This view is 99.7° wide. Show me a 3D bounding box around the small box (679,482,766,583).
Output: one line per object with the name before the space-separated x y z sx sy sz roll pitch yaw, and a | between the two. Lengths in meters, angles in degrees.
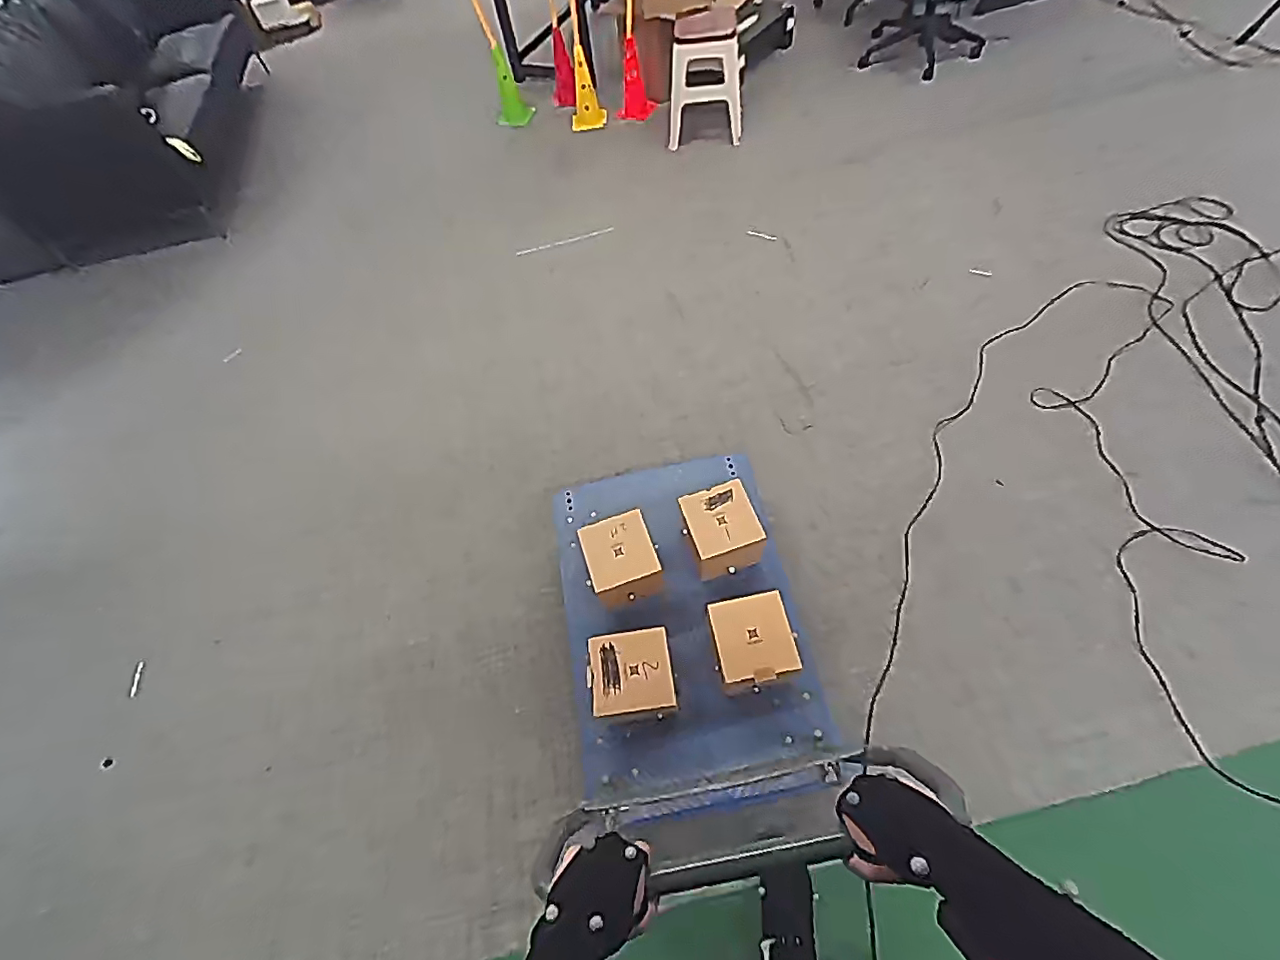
small box | 0.205 0.138 1.383 0.168 0.176 0.179 -18 60 -3

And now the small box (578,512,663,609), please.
small box | -0.044 0.212 1.369 0.168 0.176 0.179 -18 60 -5

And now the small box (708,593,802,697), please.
small box | 0.253 0.382 1.240 0.168 0.176 0.179 -12 60 0
